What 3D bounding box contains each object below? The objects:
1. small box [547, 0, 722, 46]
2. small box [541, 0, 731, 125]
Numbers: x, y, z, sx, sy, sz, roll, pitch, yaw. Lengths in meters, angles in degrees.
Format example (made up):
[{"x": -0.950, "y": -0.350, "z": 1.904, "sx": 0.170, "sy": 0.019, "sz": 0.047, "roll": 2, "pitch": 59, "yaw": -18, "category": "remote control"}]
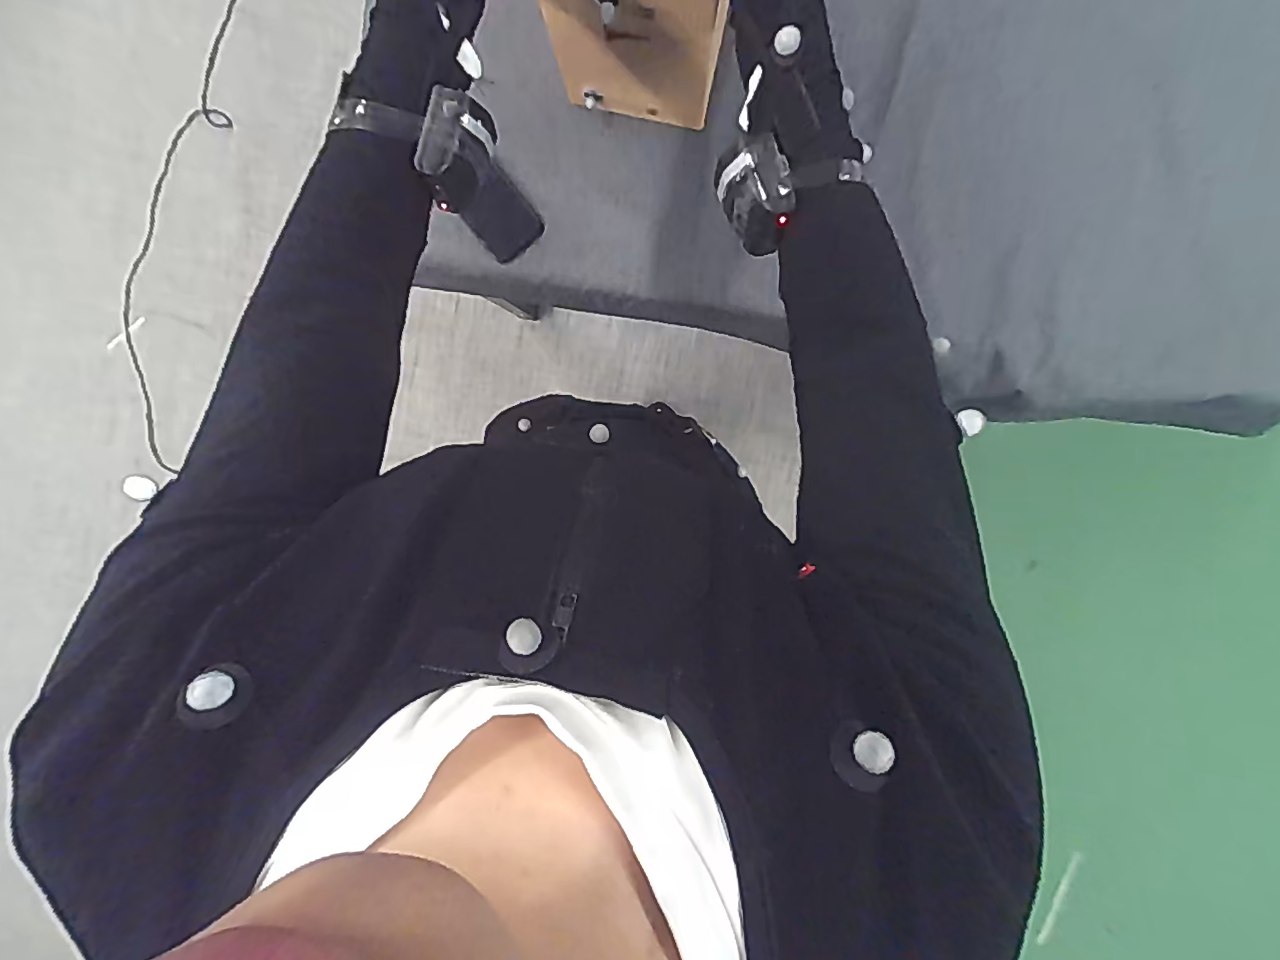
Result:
[{"x": 0.001, "y": -0.483, "z": 0.401, "sx": 0.168, "sy": 0.176, "sz": 0.179, "roll": 13, "pitch": 99, "yaw": 1, "category": "small box"}, {"x": 0.010, "y": -0.510, "z": 0.562, "sx": 0.168, "sy": 0.176, "sz": 0.179, "roll": 13, "pitch": 97, "yaw": 1, "category": "small box"}]
